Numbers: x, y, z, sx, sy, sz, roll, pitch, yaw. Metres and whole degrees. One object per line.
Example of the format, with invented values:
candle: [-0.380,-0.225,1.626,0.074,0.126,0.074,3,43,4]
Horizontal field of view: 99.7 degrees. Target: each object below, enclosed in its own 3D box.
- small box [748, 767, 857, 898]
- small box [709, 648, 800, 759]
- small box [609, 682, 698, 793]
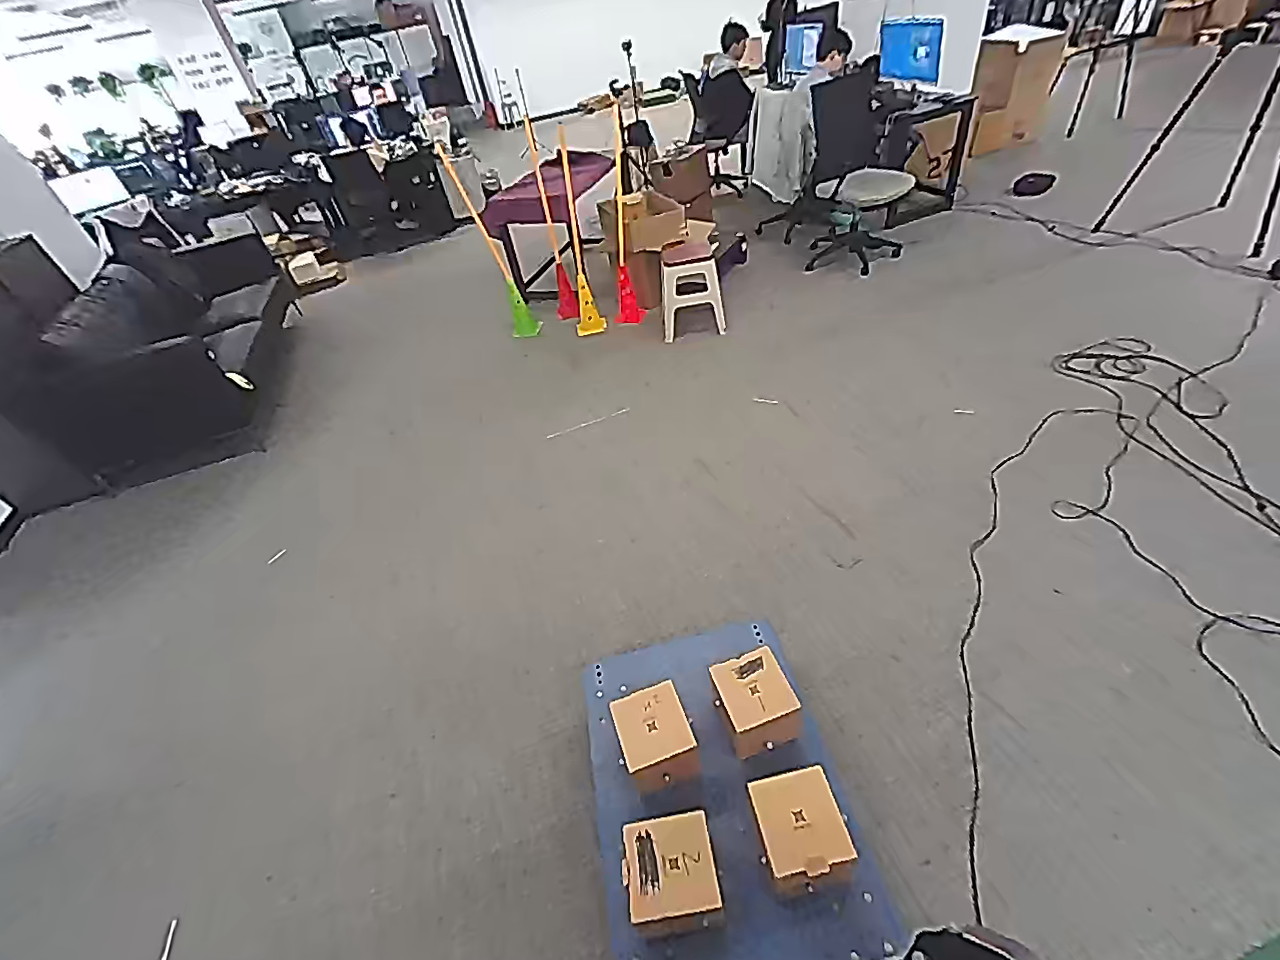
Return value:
small box: [0.332,0.745,1.141,0.168,0.176,0.179,-13,42,-3]
small box: [0.282,0.561,1.355,0.168,0.176,0.179,-18,43,-7]
small box: [0.036,0.636,1.323,0.168,0.176,0.179,-17,42,-9]
